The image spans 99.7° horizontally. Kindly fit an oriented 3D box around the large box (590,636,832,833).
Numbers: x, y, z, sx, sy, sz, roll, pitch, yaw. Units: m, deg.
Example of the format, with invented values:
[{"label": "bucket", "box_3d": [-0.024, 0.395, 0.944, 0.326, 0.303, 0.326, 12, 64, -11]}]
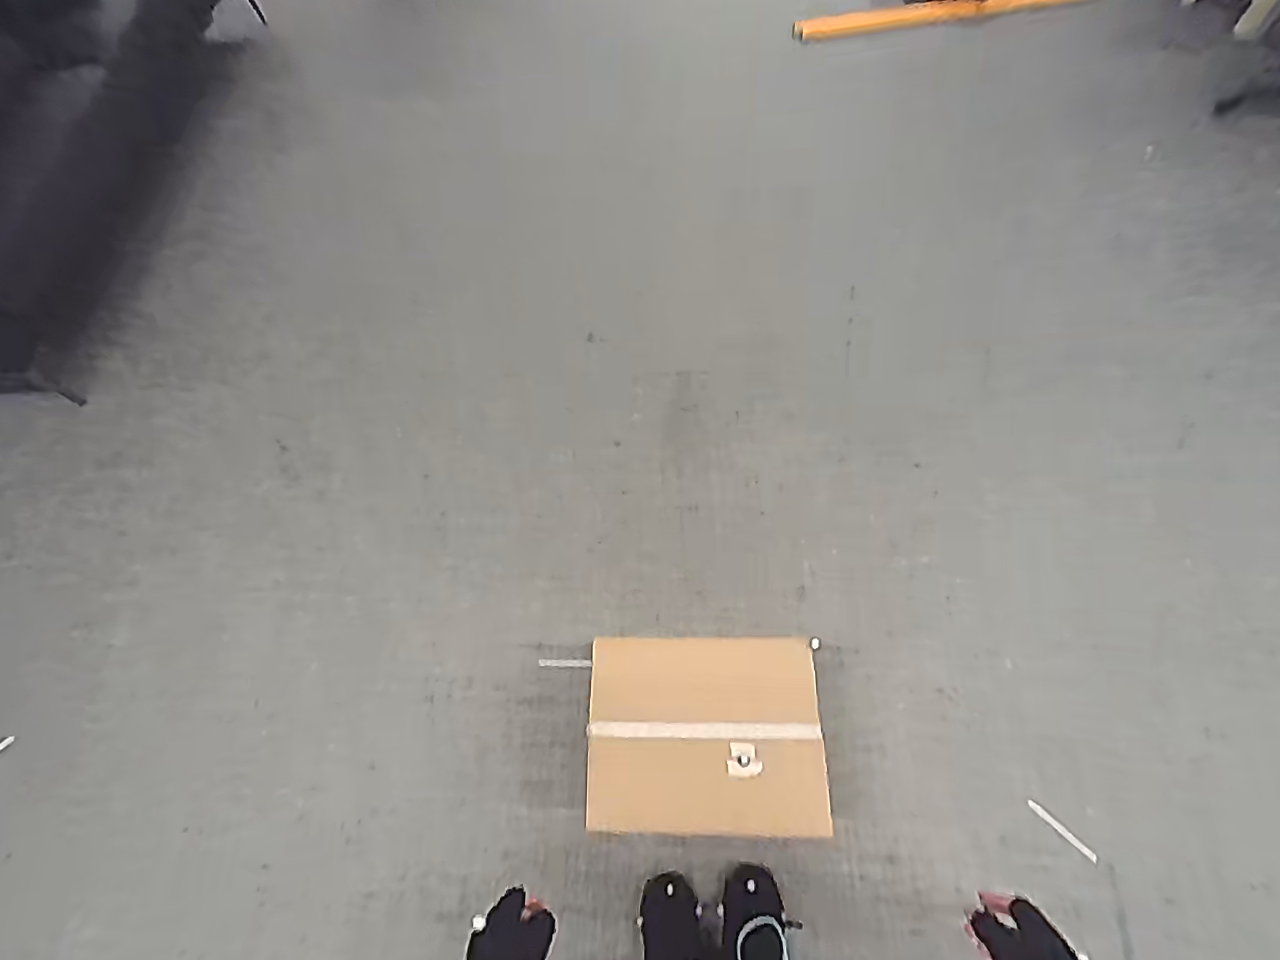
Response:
[{"label": "large box", "box_3d": [0.123, 0.496, 1.079, 0.408, 0.320, 0.320, -1, 66, 4]}]
